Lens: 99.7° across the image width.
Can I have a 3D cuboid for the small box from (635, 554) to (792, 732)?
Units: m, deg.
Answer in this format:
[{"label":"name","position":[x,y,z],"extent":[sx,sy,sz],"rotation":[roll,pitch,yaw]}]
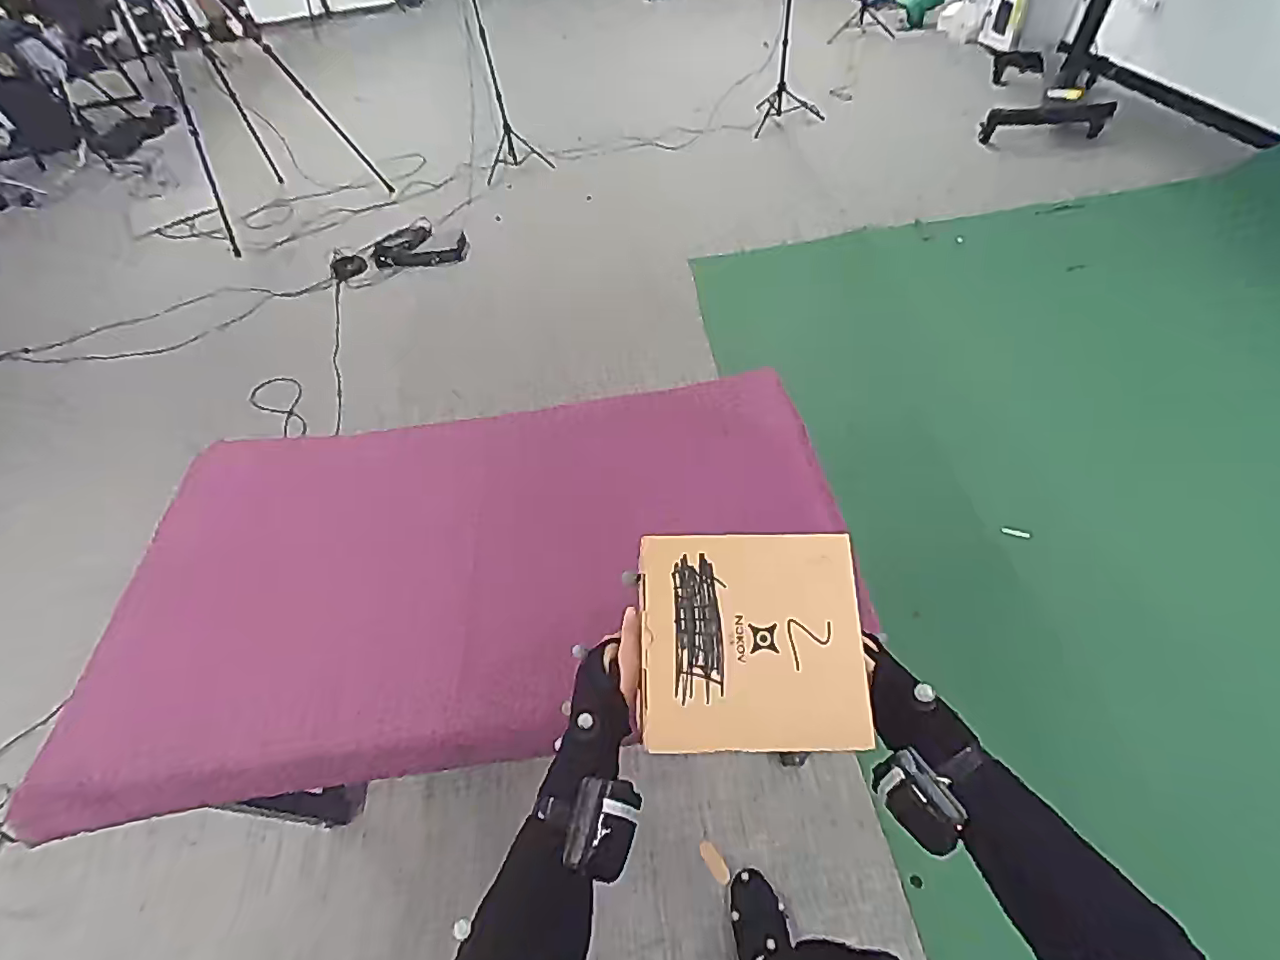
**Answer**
[{"label":"small box","position":[0.082,0.197,0.662],"extent":[0.168,0.176,0.179],"rotation":[4,71,0]}]
